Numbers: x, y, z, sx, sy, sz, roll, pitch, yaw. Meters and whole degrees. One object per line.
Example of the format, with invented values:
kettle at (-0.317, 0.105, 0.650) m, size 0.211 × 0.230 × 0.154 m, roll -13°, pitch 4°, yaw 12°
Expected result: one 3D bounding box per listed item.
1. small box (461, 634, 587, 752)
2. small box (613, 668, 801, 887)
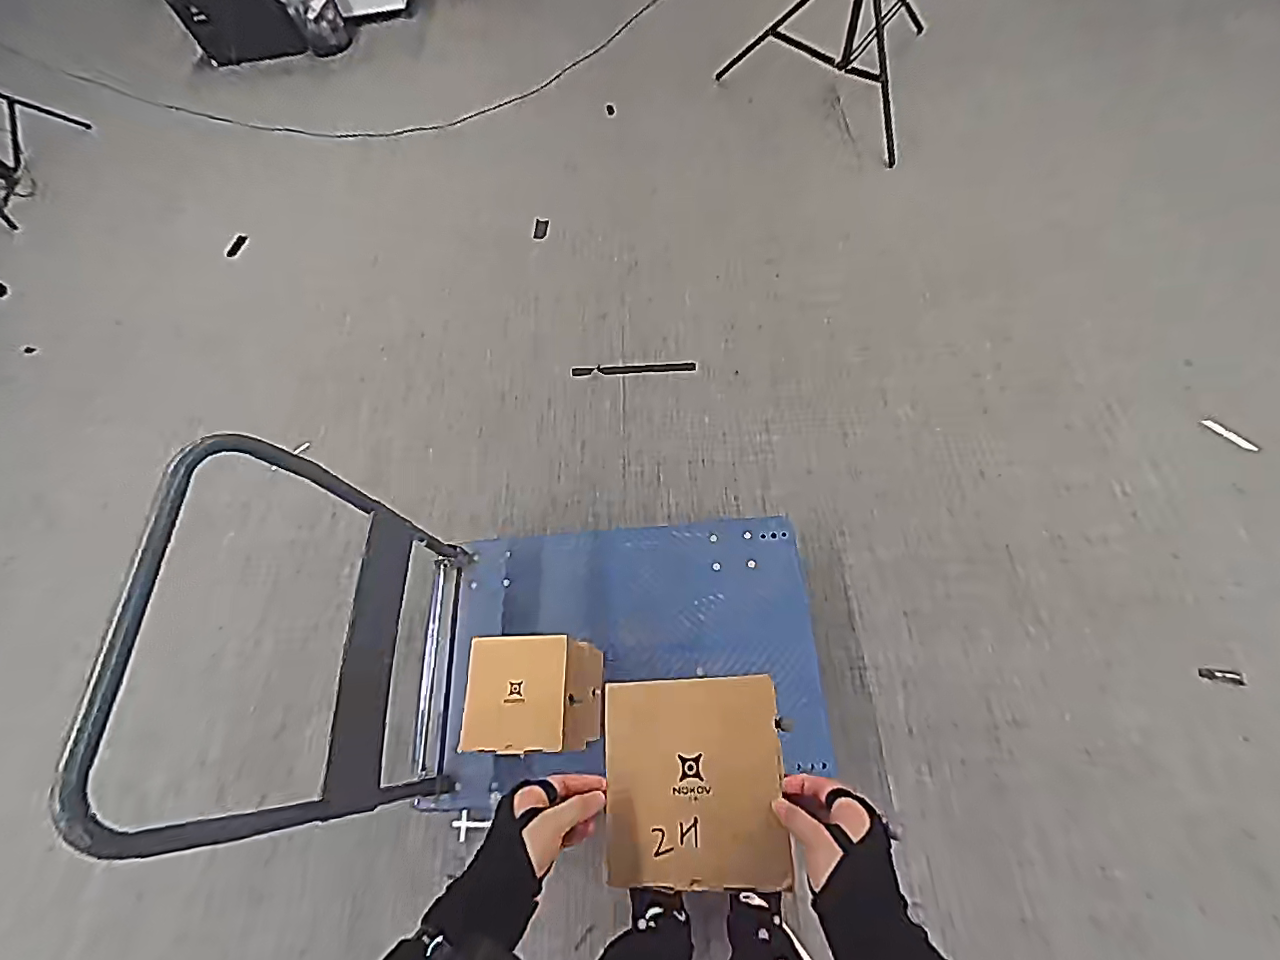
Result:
small box at (-0.188, 0.370, 0.932) m, size 0.168 × 0.176 × 0.179 m, roll -3°, pitch 66°, yaw 5°
small box at (0.072, 0.302, 0.574) m, size 0.168 × 0.176 × 0.179 m, roll -8°, pitch 66°, yaw 12°
